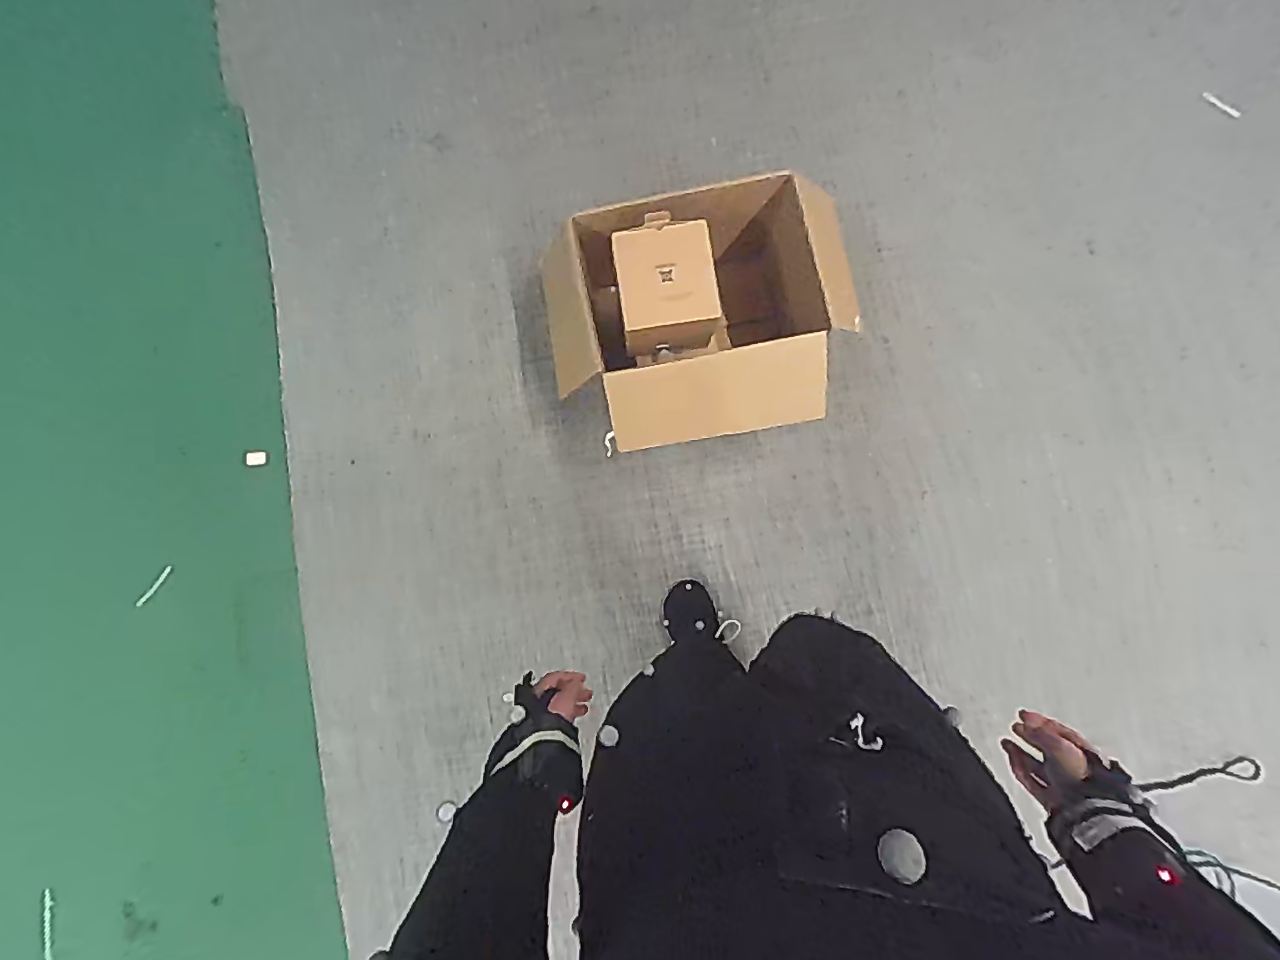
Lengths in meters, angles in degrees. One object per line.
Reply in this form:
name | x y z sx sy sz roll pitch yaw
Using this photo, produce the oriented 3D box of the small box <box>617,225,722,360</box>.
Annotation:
small box | 0.047 -0.336 0.996 0.168 0.176 0.179 -7 86 -1
